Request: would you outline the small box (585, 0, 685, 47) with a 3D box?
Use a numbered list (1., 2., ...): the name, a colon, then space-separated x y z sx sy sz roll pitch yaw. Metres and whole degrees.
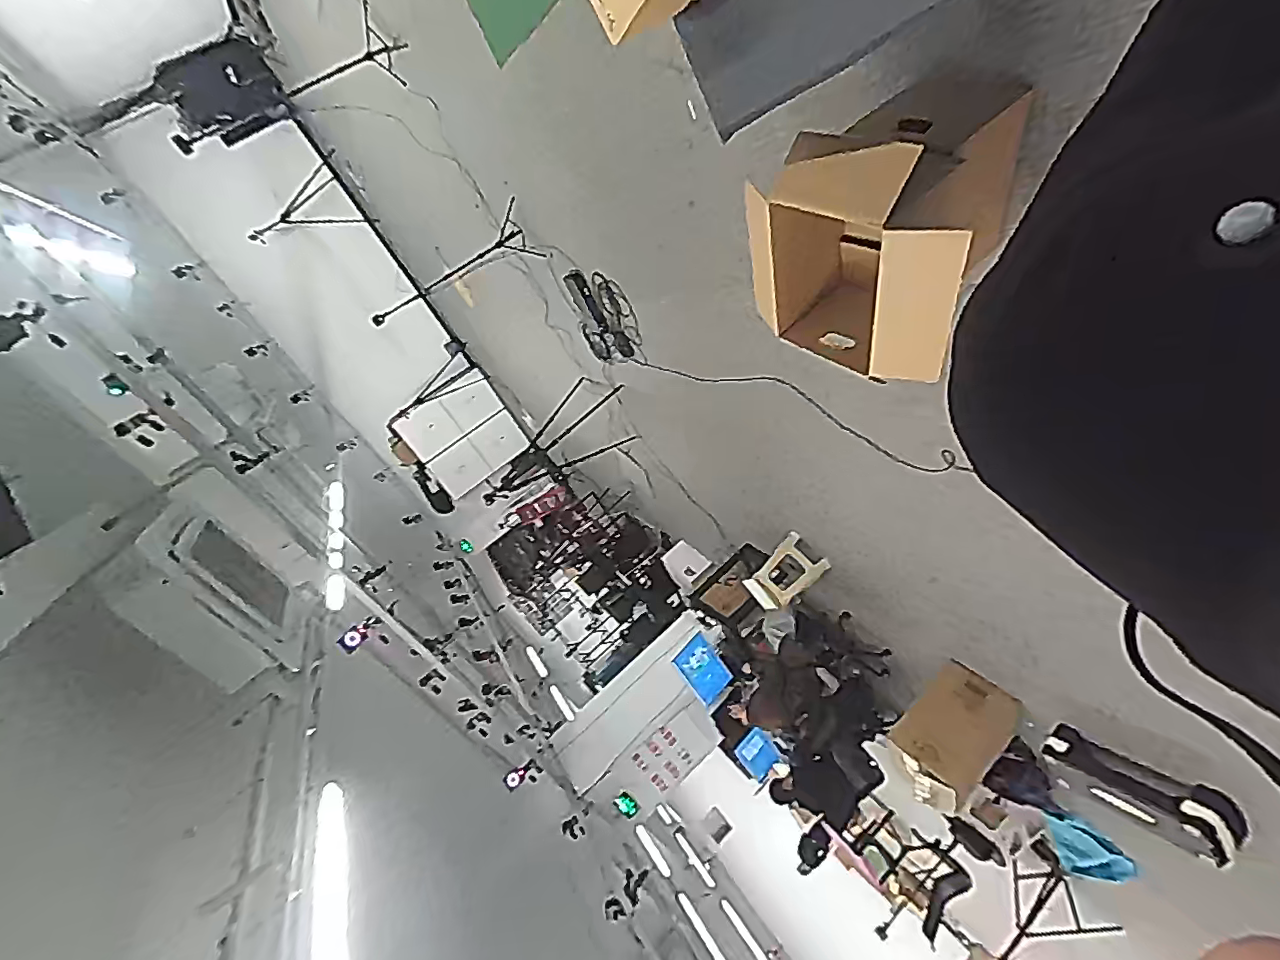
1. small box: 0.004 -0.848 0.851 0.168 0.176 0.179 57 163 -22
